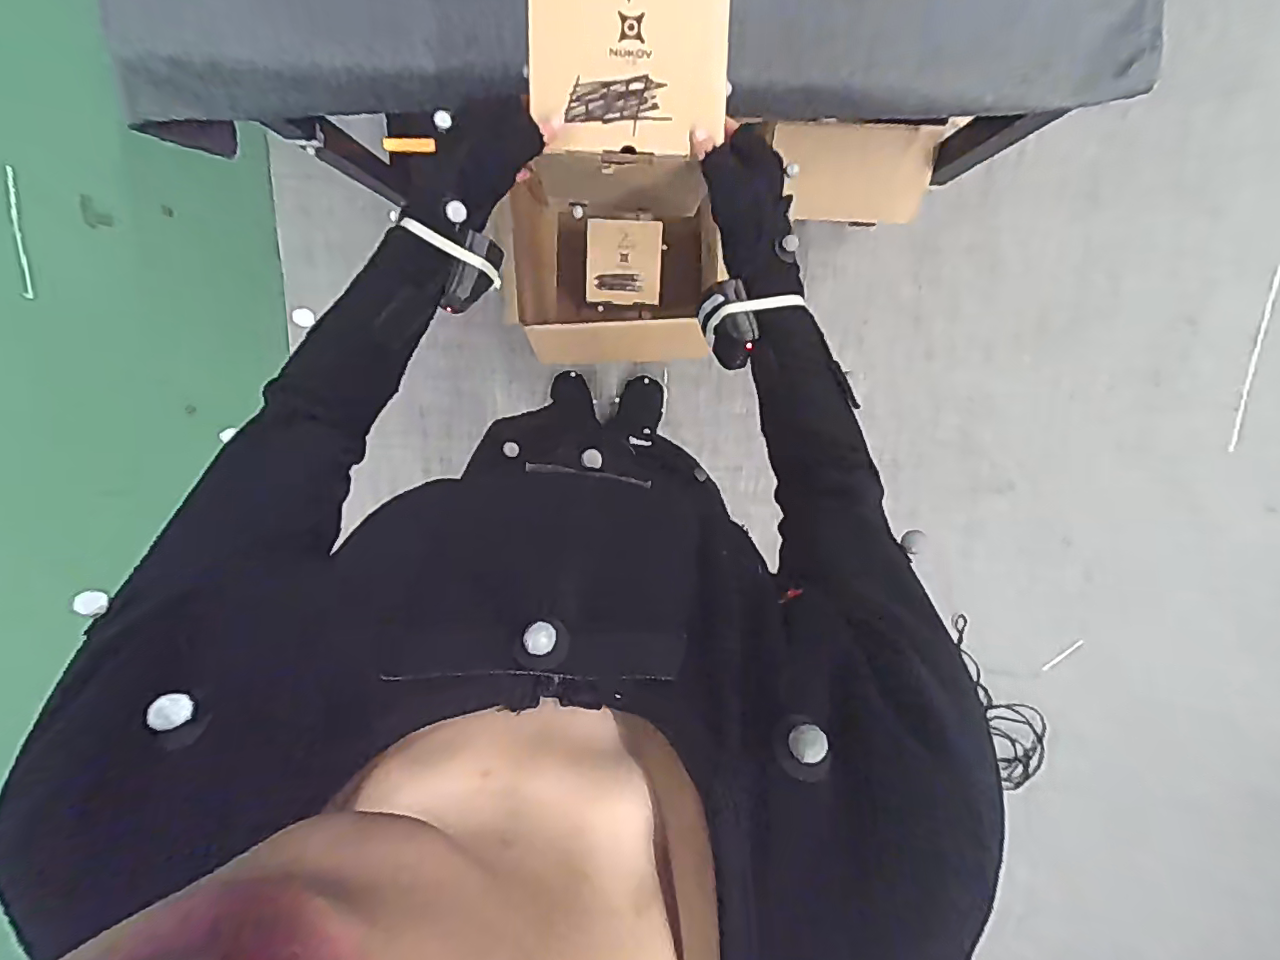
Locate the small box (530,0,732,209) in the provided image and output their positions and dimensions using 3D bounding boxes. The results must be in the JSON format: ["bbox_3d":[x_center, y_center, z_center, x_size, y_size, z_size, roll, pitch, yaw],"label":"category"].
[{"bbox_3d":[-0.011,-0.376,0.517,0.168,0.176,0.179,1,100,-4],"label":"small box"}]
